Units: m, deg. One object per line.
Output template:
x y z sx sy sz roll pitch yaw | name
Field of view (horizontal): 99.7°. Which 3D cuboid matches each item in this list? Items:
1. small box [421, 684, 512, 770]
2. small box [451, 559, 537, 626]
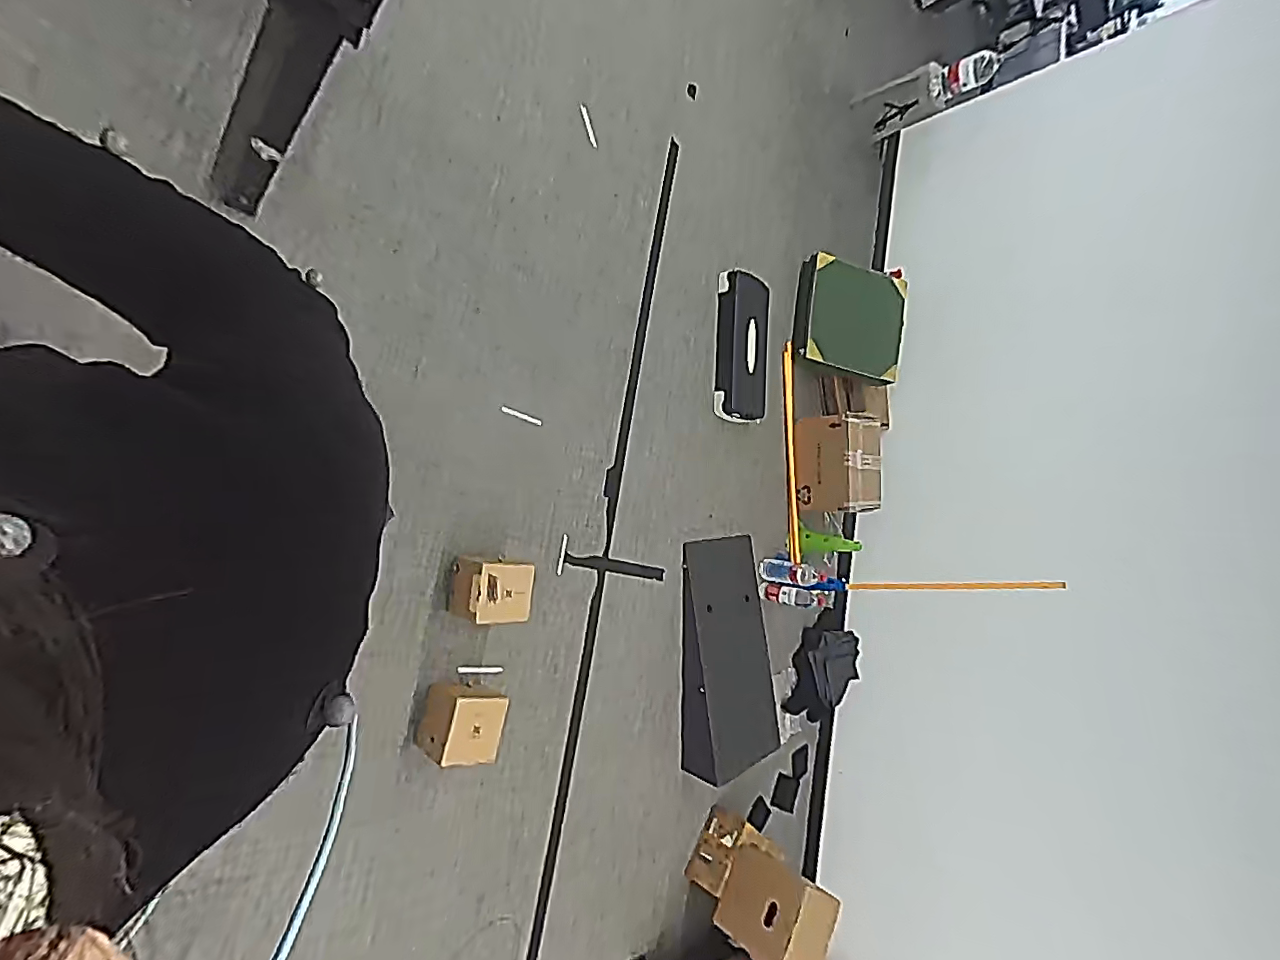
-0.493 0.691 1.525 0.168 0.176 0.179 22 75 -43 | small box
-0.429 0.325 1.578 0.179 0.176 0.168 11 84 -45 | small box
